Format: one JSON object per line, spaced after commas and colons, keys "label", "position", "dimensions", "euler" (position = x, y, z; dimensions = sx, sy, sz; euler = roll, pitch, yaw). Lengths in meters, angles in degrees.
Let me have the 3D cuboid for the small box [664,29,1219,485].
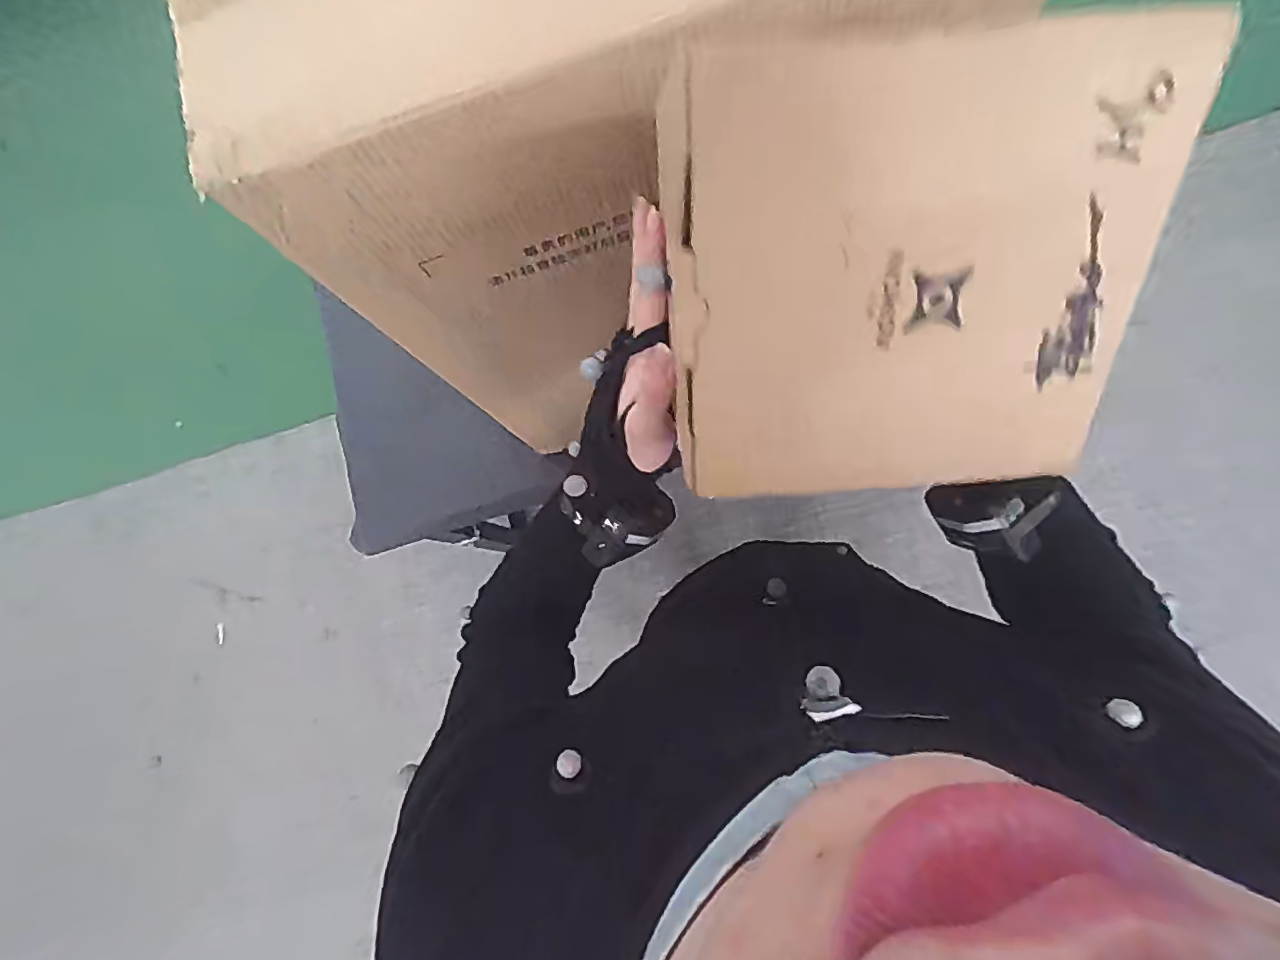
{"label": "small box", "position": [0.101, -0.110, 0.282], "dimensions": [0.179, 0.176, 0.168], "euler": [-2, 121, 0]}
